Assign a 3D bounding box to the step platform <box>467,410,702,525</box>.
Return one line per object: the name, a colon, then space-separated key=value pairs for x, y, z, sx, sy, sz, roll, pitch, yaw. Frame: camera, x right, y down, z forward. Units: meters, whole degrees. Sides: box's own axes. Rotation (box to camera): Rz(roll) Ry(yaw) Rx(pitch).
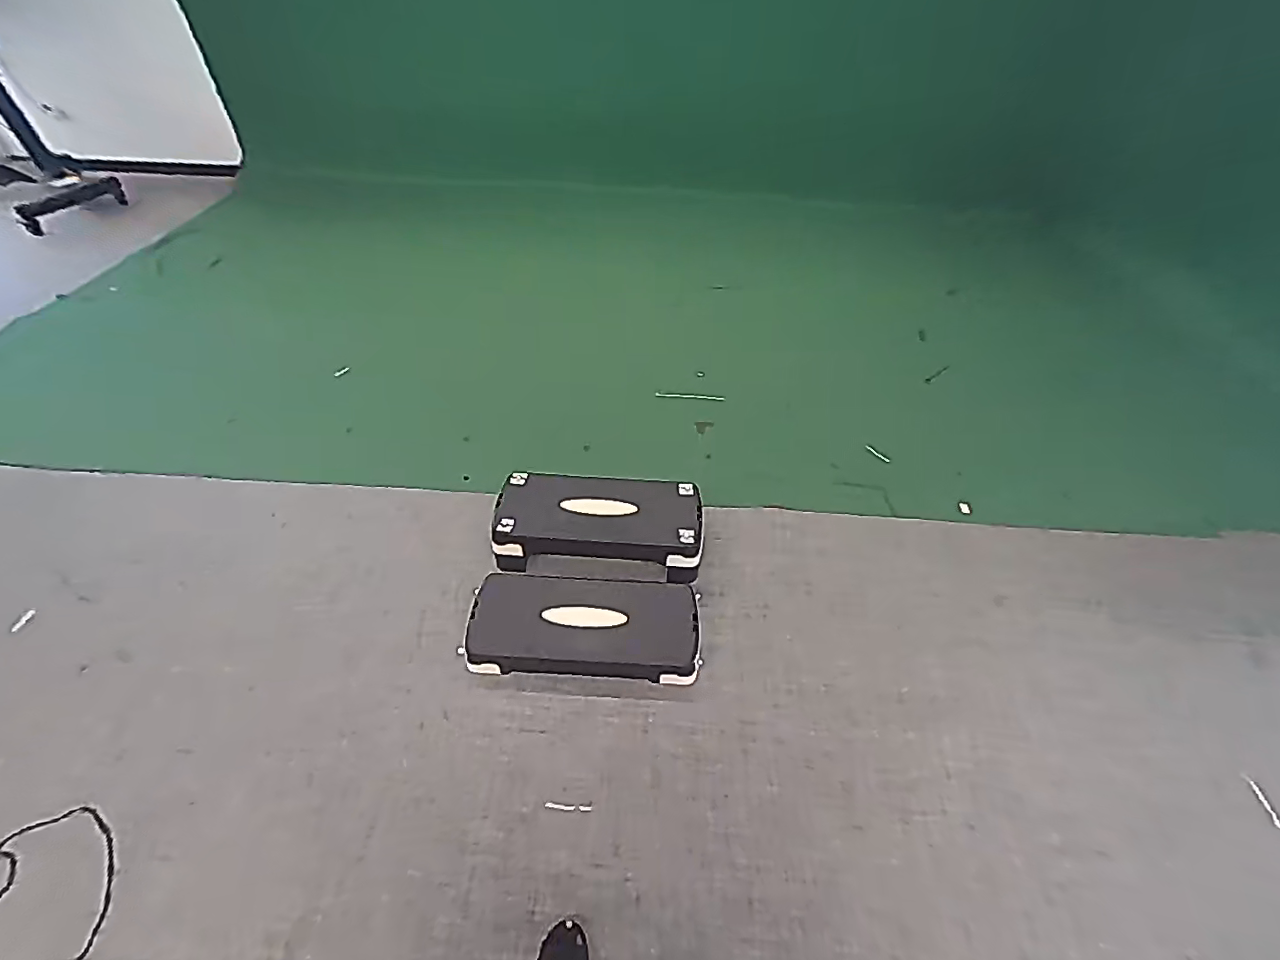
step platform: x=-0.157 y=-0.036 z=1.658 sx=0.684 sy=0.204 sz=0.286 roll=3 pitch=48 yaw=1
